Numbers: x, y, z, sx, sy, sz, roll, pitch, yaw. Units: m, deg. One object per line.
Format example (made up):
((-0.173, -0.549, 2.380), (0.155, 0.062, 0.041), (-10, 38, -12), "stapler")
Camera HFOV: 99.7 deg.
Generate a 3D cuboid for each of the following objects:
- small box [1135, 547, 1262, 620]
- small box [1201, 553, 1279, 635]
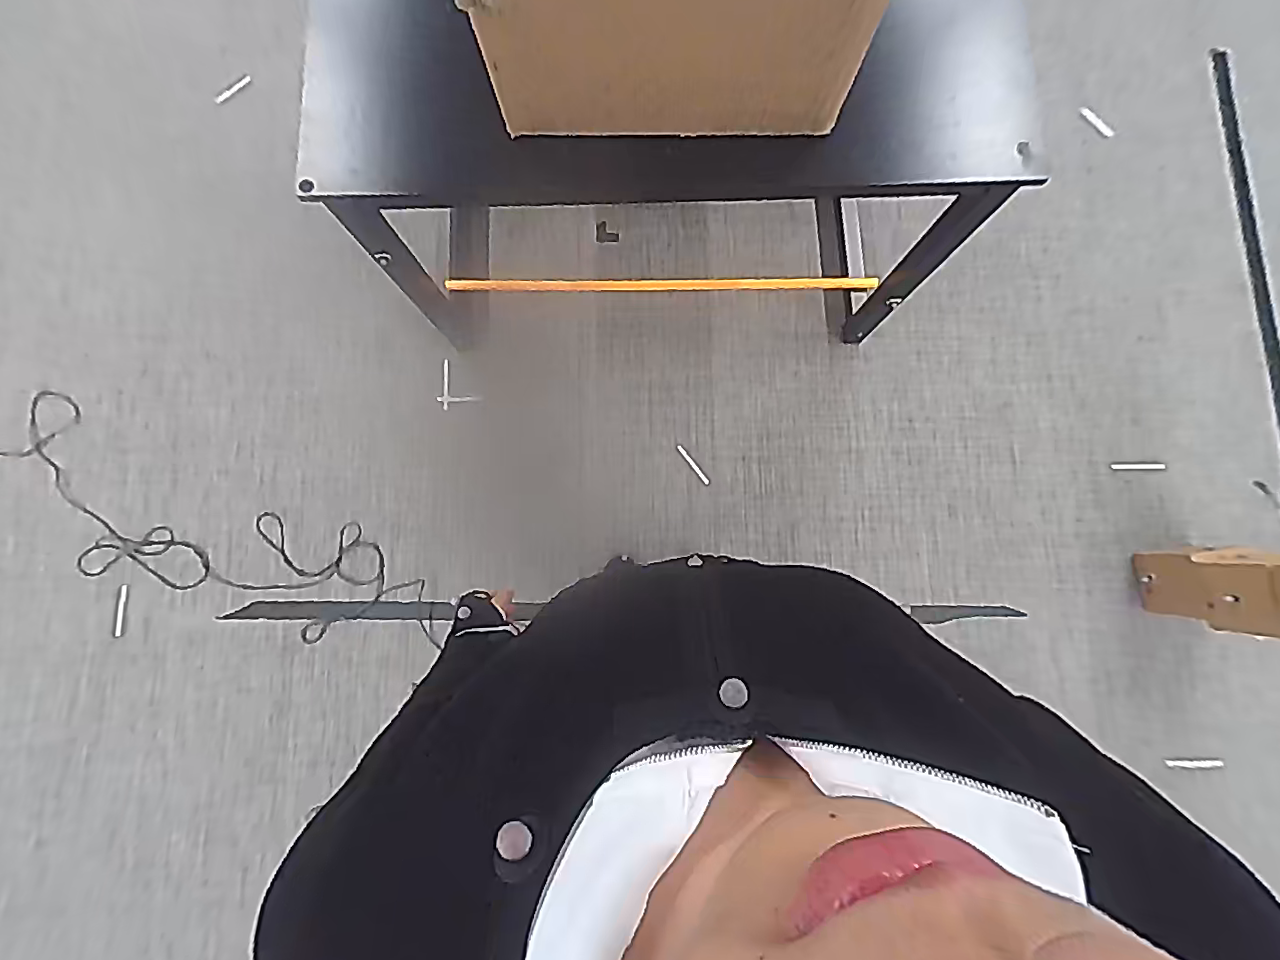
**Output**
((1.468, 0.265, 1.414), (0.179, 0.176, 0.168), (-7, 82, 1), "small box")
((1.466, 0.262, 1.249), (0.179, 0.176, 0.168), (-8, 82, 0), "small box")
